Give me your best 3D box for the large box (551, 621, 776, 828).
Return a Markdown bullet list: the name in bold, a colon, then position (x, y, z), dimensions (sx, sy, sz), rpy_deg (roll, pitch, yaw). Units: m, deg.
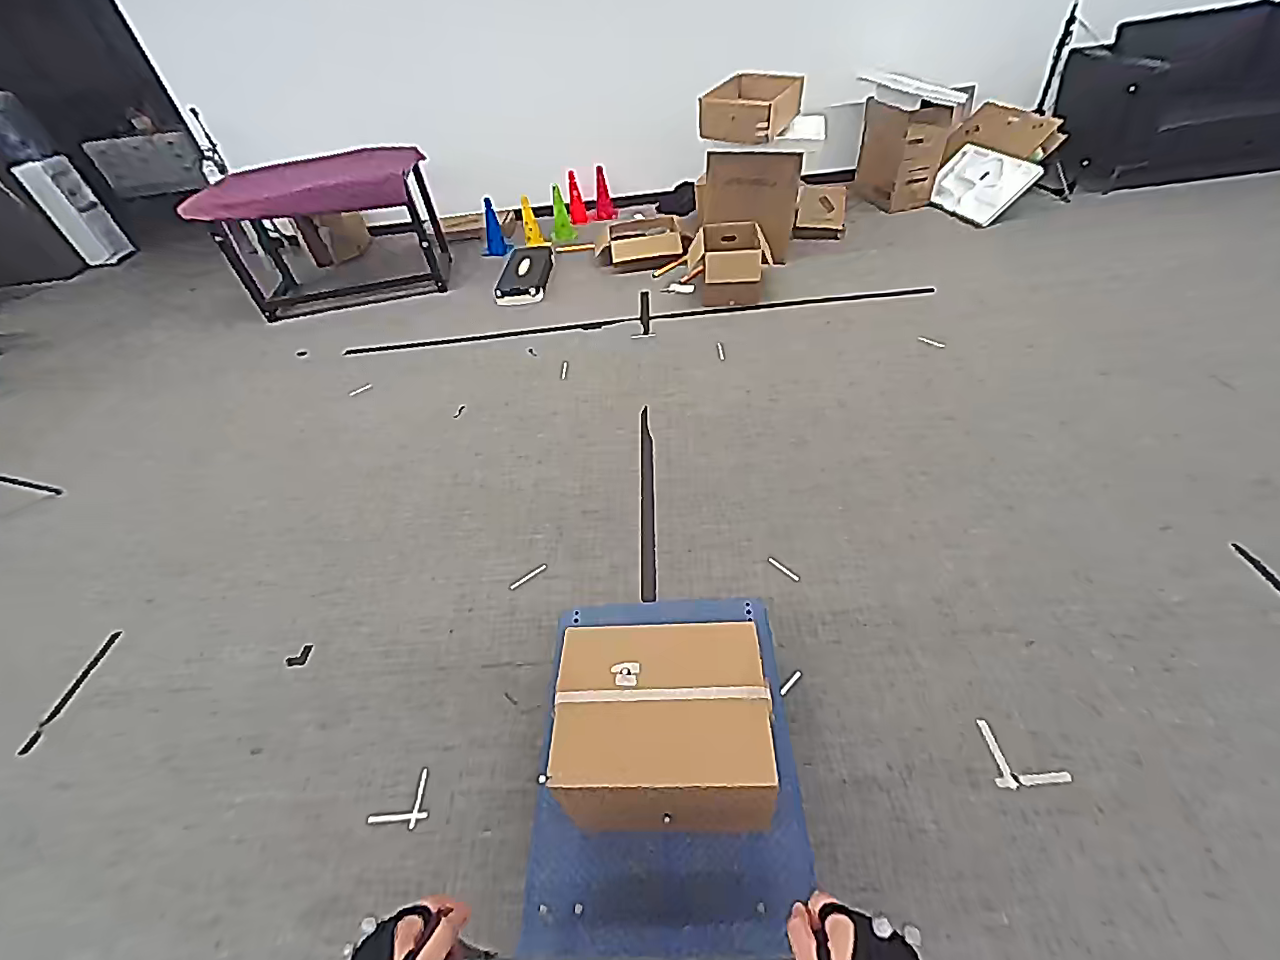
- **large box**: position (0.058, 0.527, 1.154), dimensions (0.408, 0.320, 0.320), rpy_deg (-4, 43, 5)
